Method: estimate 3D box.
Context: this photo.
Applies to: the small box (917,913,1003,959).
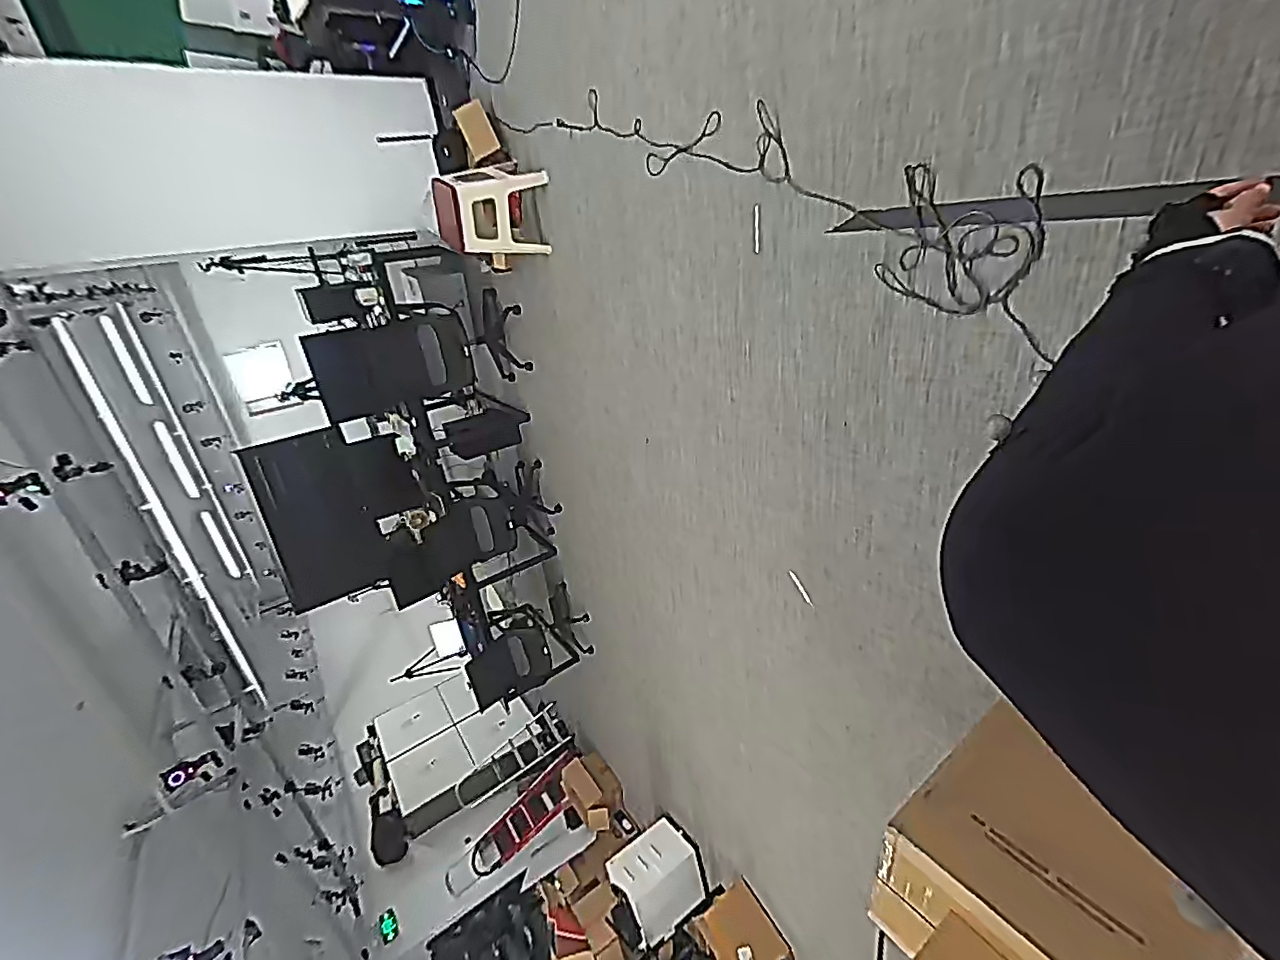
[{"bbox_3d":[0.653,1.033,1.076,0.179,0.176,0.168,29,132,50],"label":"small box"}]
